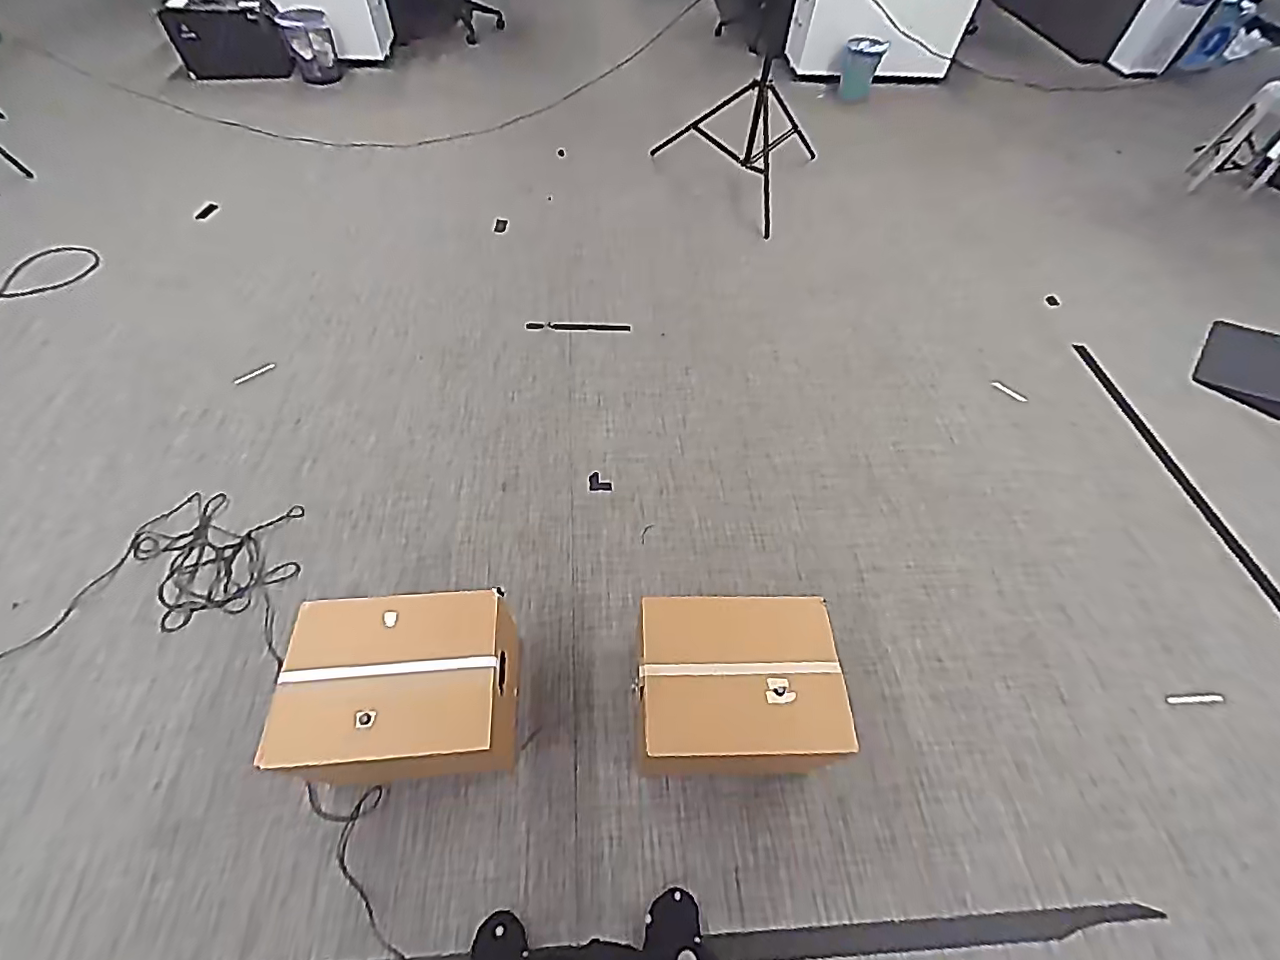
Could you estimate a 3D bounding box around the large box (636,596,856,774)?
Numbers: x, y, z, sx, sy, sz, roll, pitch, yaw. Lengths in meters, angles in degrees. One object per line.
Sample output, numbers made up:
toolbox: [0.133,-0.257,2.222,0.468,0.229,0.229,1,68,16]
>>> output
large box: [0.202,0.468,1.223,0.408,0.320,0.320,1,56,-4]
